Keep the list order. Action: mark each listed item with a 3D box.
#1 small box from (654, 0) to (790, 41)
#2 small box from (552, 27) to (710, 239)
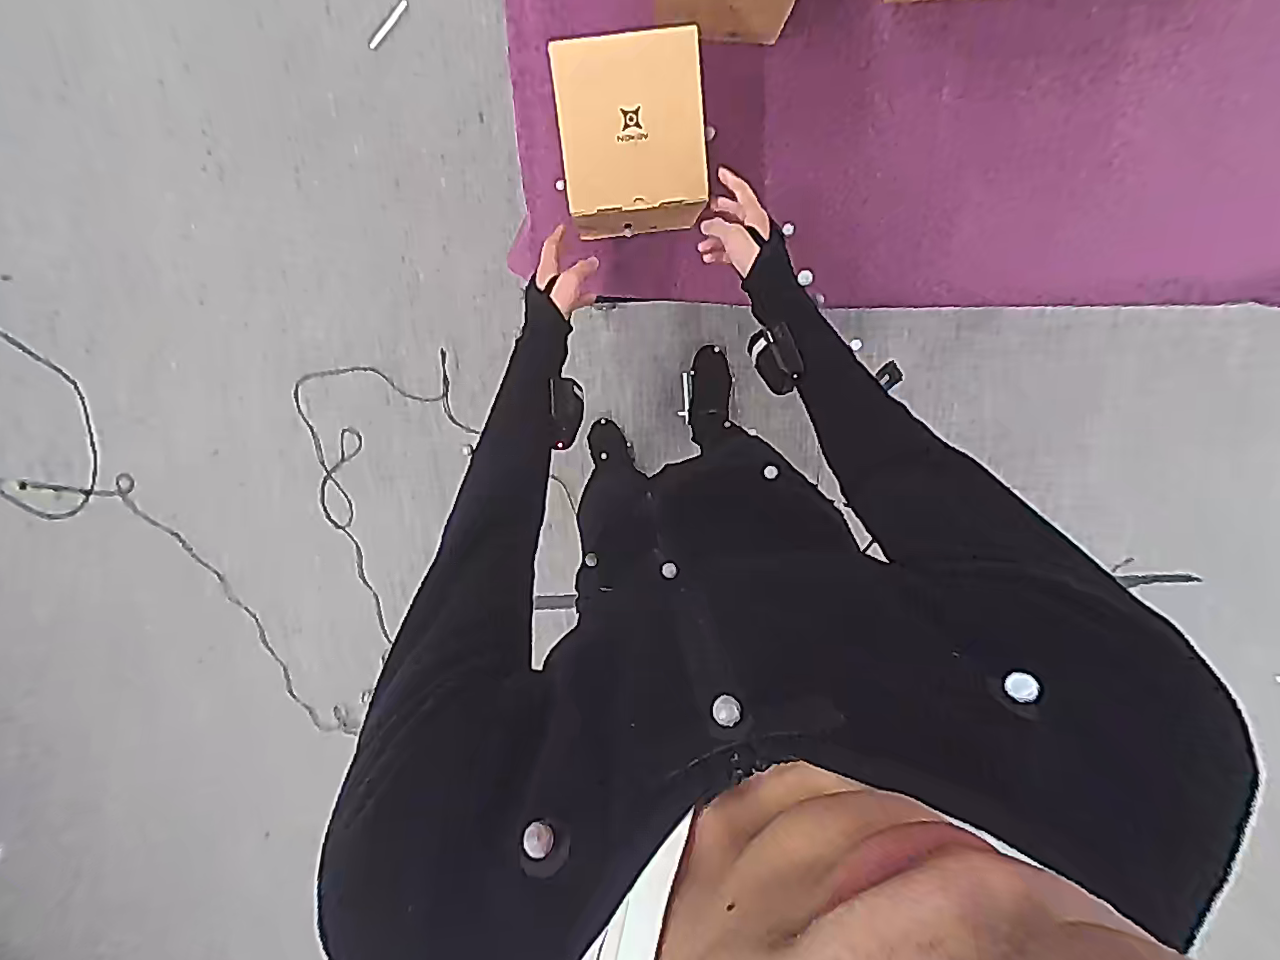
[{"bbox_3d":[0.104,-0.647,0.622,0.168,0.176,0.179,3,106,-1],"label":"small box"},{"bbox_3d":[-0.011,-0.420,0.684,0.168,0.176,0.179,-7,106,0],"label":"small box"}]
